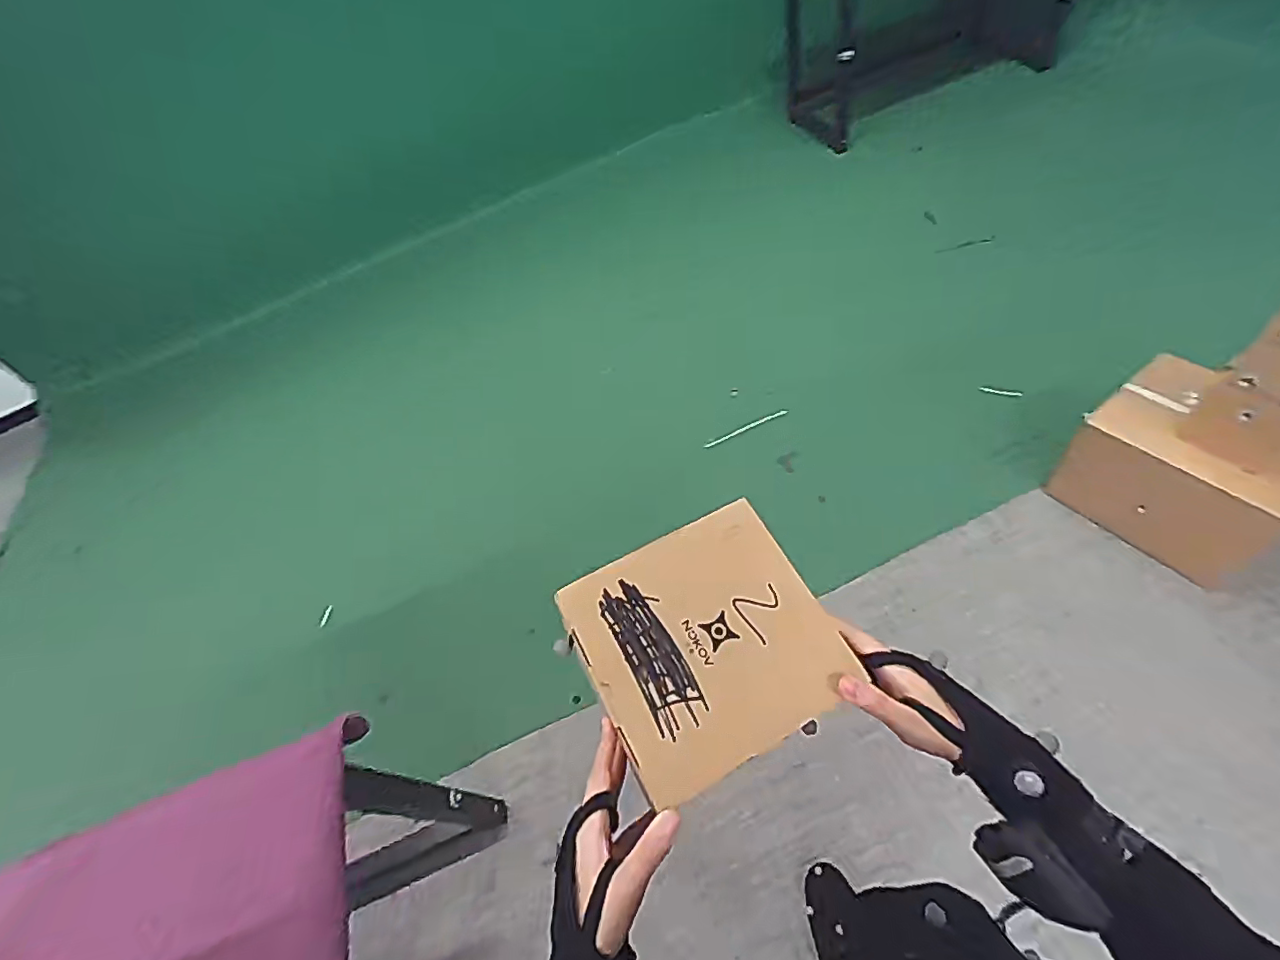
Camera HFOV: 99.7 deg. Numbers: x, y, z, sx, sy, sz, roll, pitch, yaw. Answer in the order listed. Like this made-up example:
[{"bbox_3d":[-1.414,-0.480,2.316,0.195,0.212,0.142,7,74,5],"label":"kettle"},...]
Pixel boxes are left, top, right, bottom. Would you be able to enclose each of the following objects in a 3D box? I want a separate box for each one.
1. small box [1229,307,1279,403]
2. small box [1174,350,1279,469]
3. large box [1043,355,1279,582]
[{"bbox_3d":[1.256,-0.245,0.988,0.179,0.176,0.168,-33,52,-6],"label":"small box"},{"bbox_3d":[1.288,-0.156,1.122,0.168,0.176,0.179,-35,53,-7],"label":"small box"},{"bbox_3d":[1.332,-0.031,1.330,0.320,0.320,0.408,-36,51,-11],"label":"large box"}]
